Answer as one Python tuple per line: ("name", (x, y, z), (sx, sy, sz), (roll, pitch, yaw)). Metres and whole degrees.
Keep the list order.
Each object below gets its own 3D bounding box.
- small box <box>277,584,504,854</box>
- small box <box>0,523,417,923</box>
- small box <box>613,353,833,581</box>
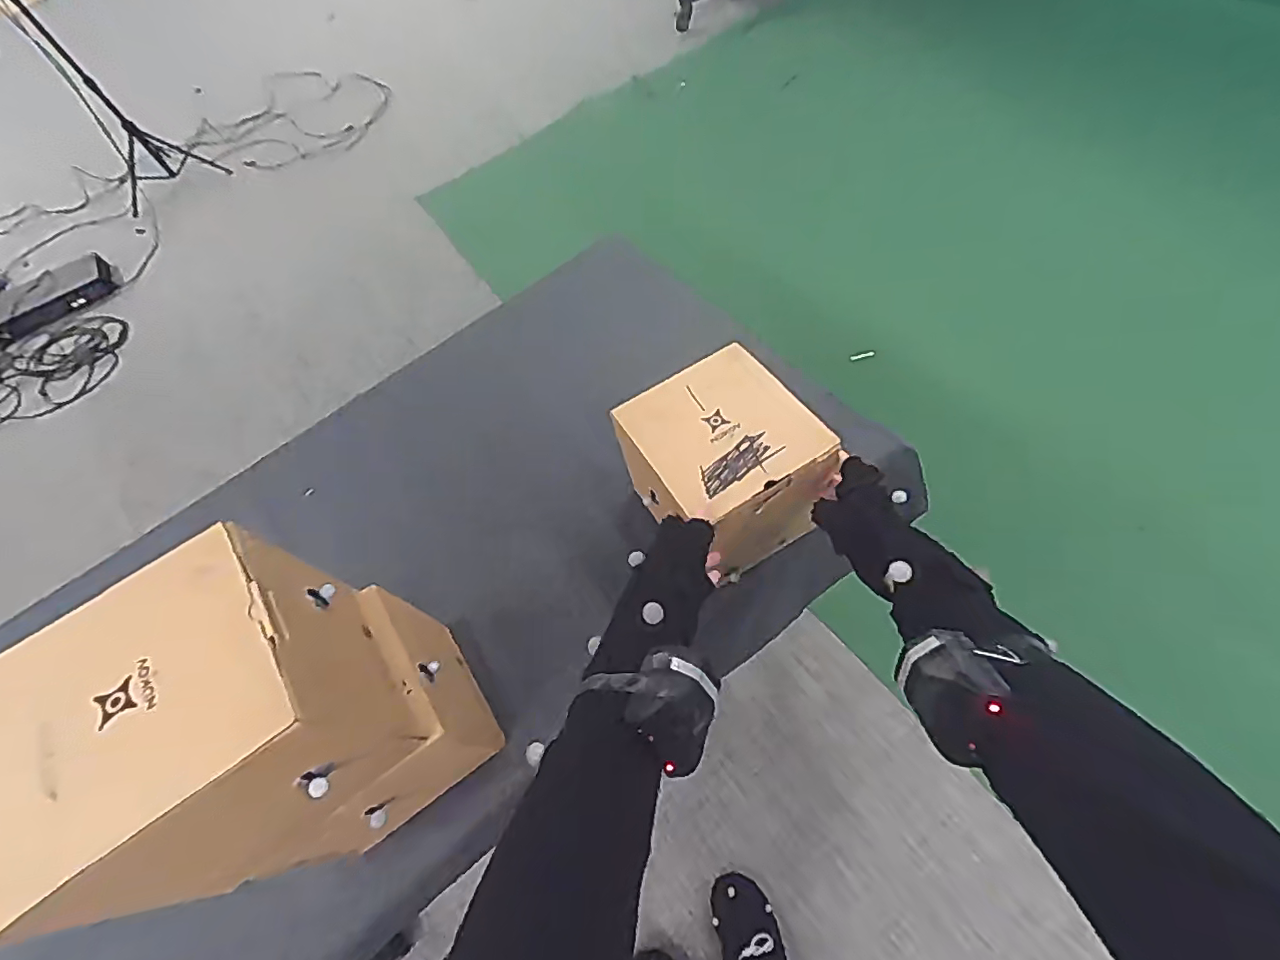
("small box", (-0.269, 0.241, 0.548), (0.179, 0.176, 0.168), (-34, 63, -11))
("small box", (-0.296, 0.169, 0.405), (0.179, 0.176, 0.168), (-36, 62, -12))
("small box", (0.094, -0.004, 0.625), (0.168, 0.176, 0.179), (-30, 56, -8))
